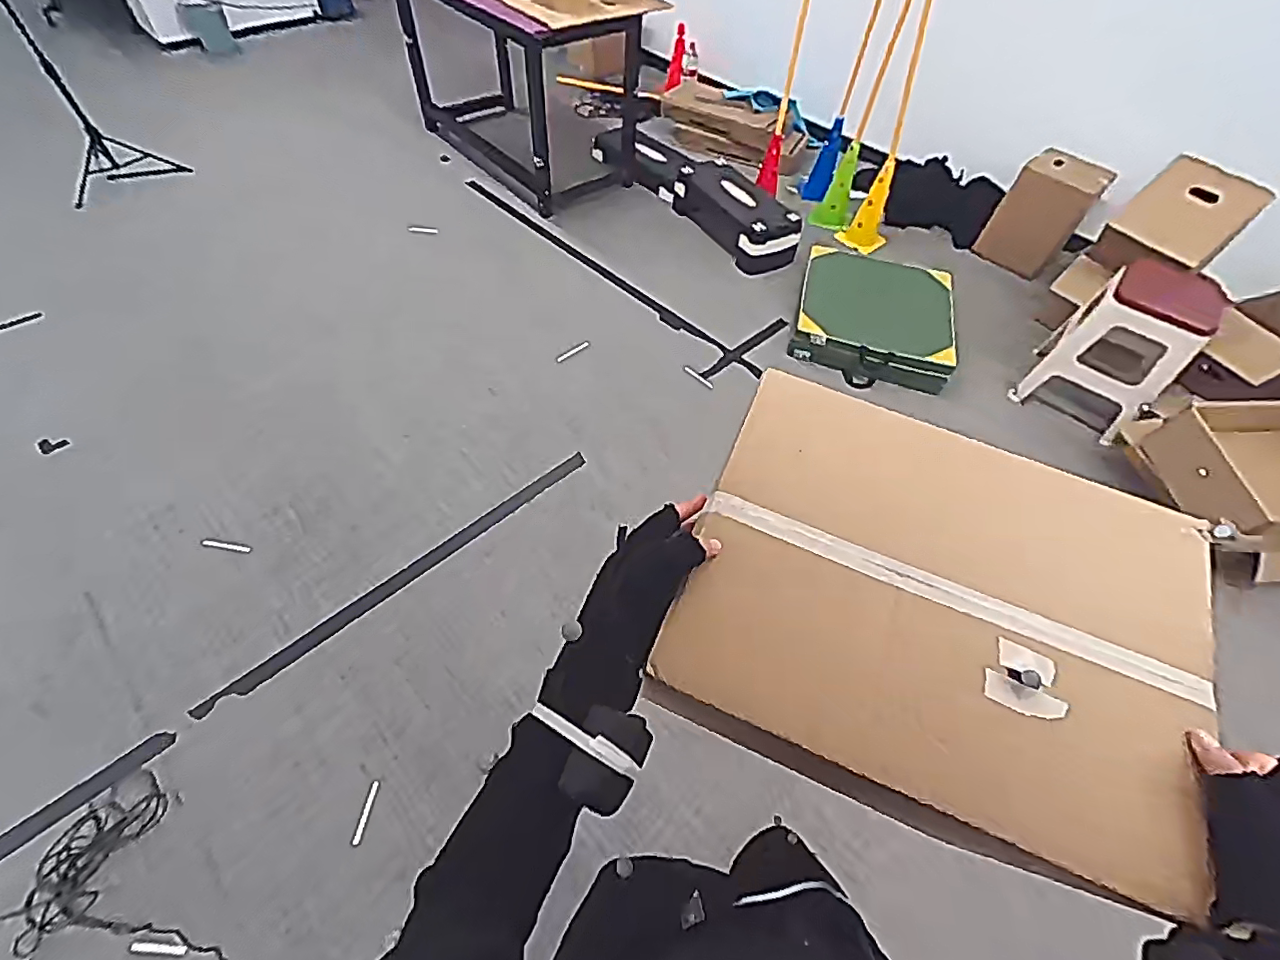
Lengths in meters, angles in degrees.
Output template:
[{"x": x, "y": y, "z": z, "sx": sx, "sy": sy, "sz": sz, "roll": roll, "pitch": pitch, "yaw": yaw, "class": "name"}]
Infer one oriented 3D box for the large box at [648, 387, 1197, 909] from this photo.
[{"x": 0.250, "y": 0.162, "z": 0.592, "sx": 0.408, "sy": 0.320, "sz": 0.320, "roll": 22, "pitch": 68, "yaw": 9, "class": "large box"}]
